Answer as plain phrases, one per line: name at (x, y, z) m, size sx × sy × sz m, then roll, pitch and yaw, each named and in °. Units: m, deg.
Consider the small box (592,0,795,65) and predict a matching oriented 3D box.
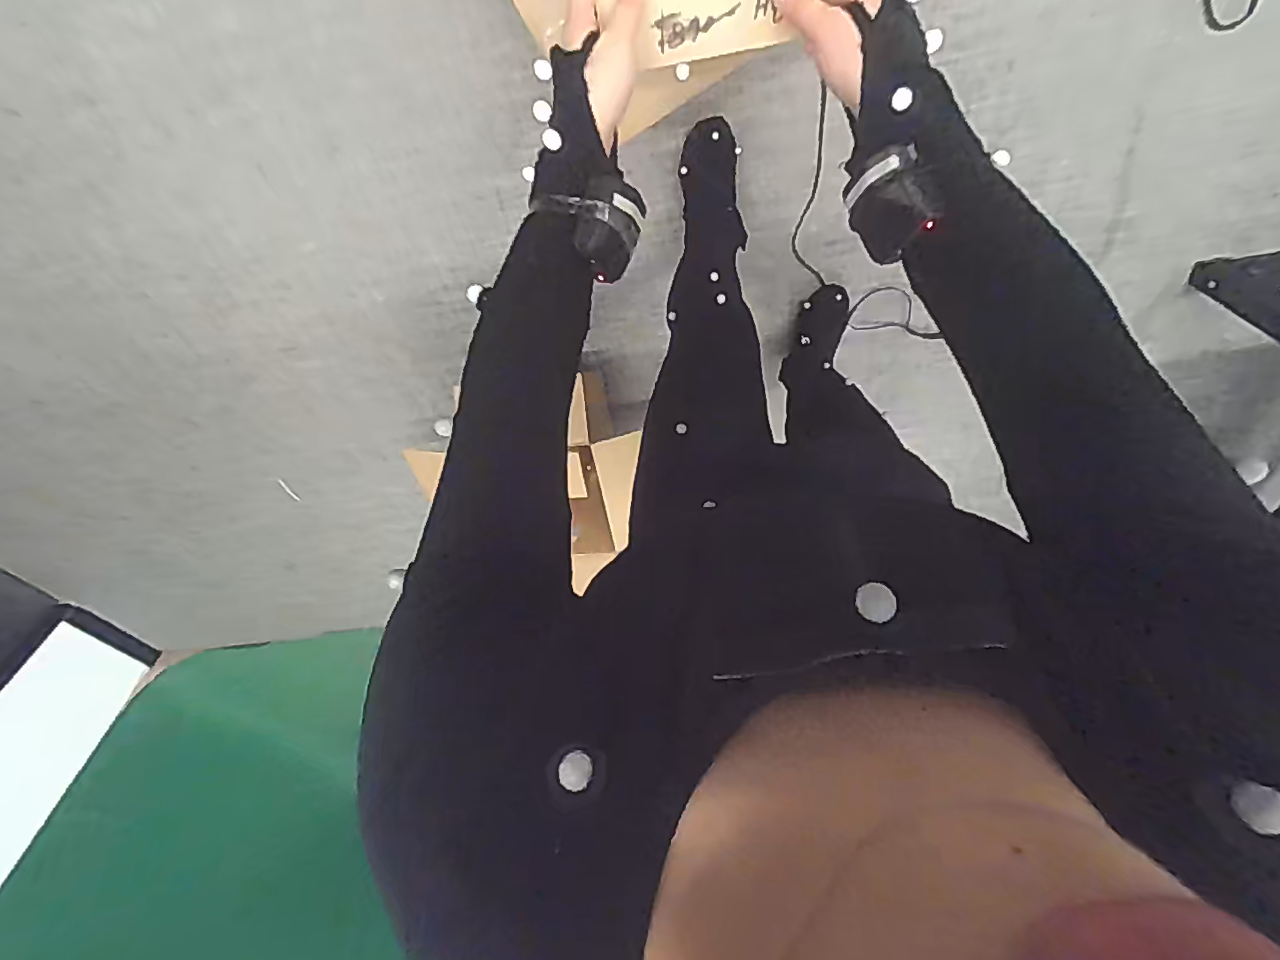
small box at (0.036, -0.483, 0.458) m, size 0.168 × 0.176 × 0.179 m, roll -6°, pitch 134°, yaw 8°
